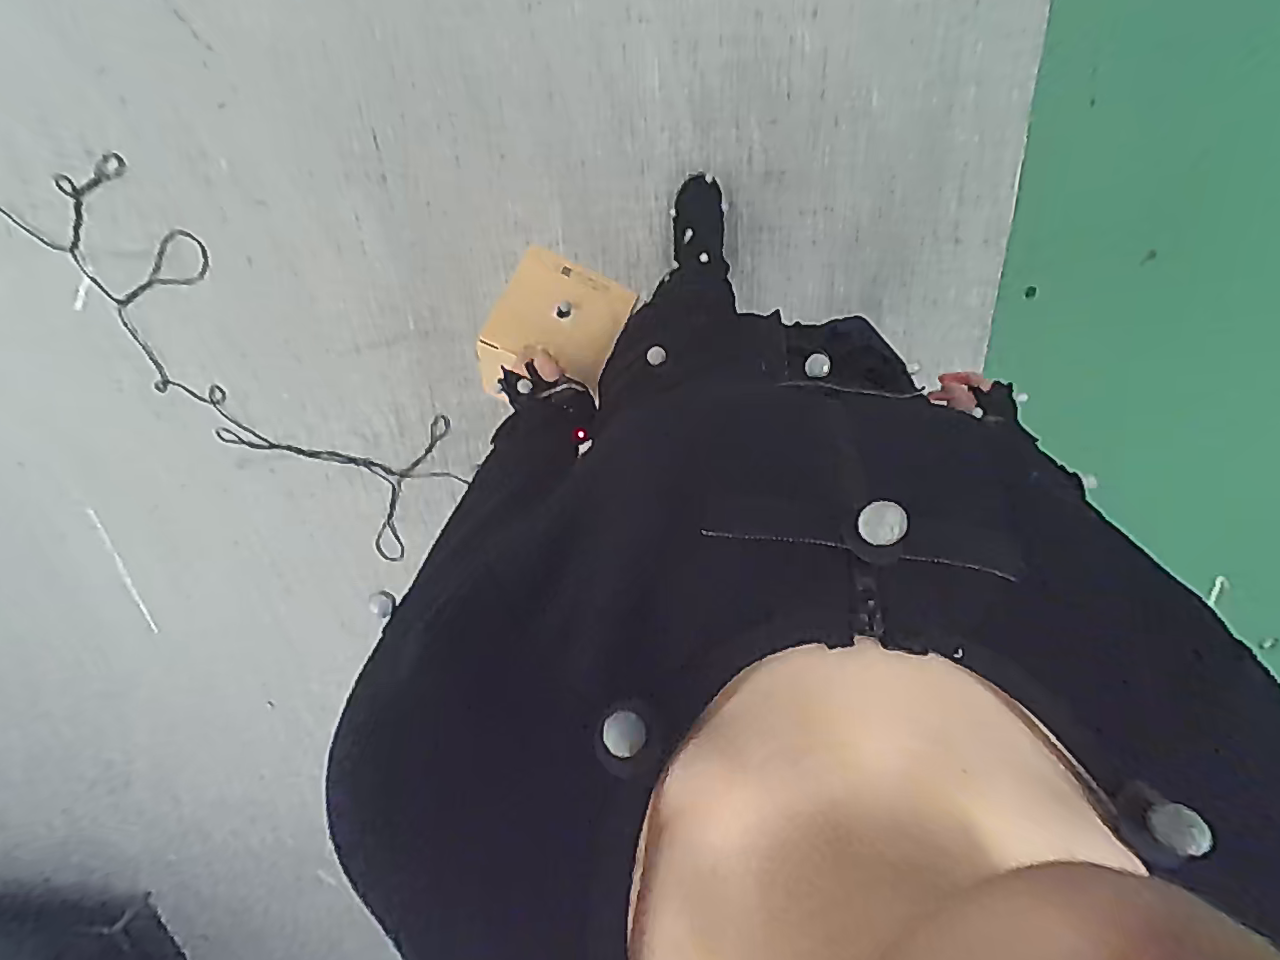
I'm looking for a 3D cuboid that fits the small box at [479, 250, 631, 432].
[{"bbox_3d":[-0.124,-0.201,0.803,0.168,0.179,0.176,22,71,-6],"label":"small box"}]
